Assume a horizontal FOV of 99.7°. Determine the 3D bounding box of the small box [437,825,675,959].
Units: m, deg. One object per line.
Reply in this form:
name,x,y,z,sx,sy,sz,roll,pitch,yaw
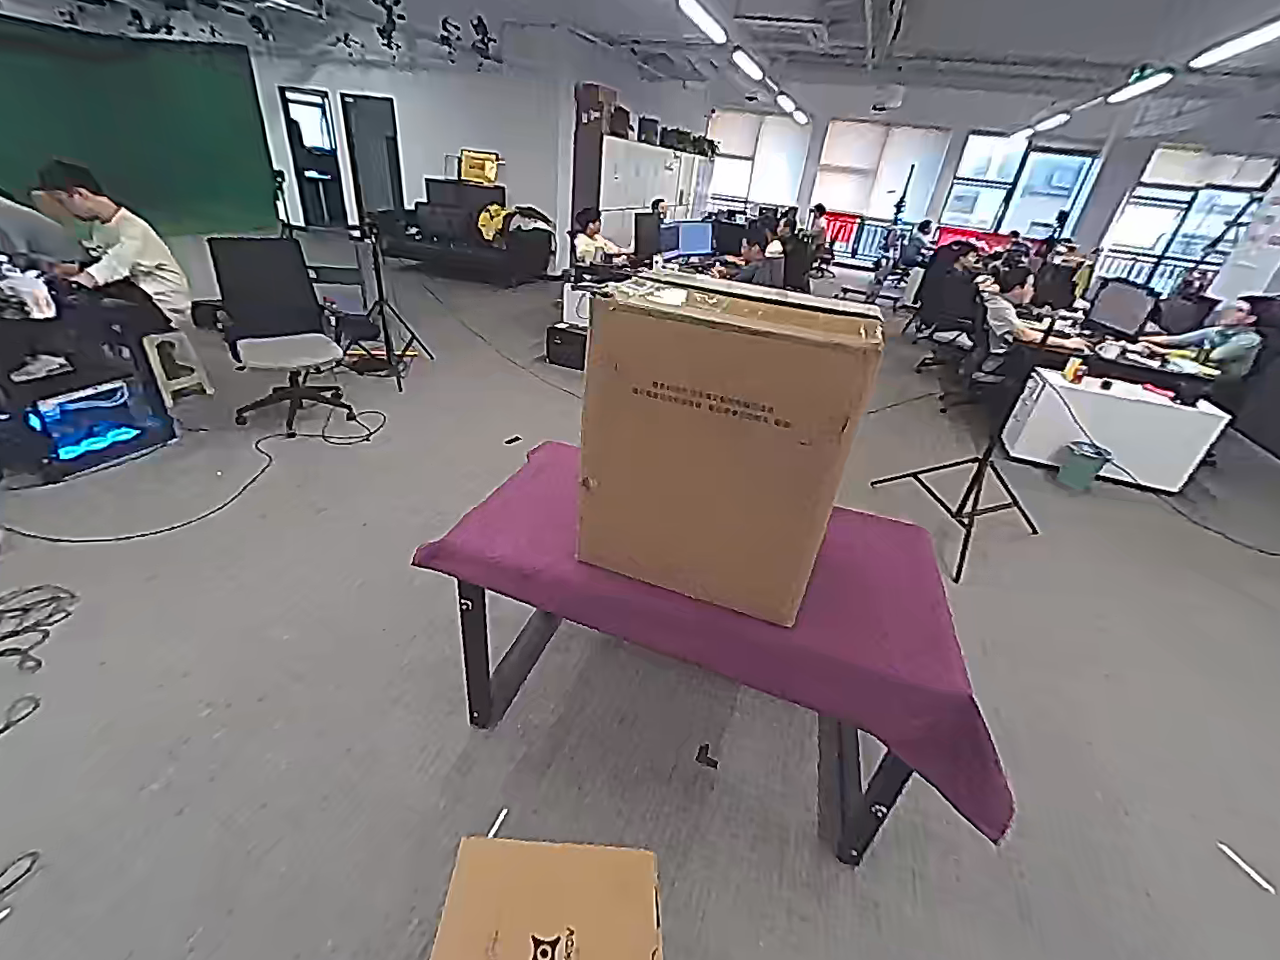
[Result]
small box,-0.071,0.418,0.436,0.179,0.176,0.168,6,22,-5
